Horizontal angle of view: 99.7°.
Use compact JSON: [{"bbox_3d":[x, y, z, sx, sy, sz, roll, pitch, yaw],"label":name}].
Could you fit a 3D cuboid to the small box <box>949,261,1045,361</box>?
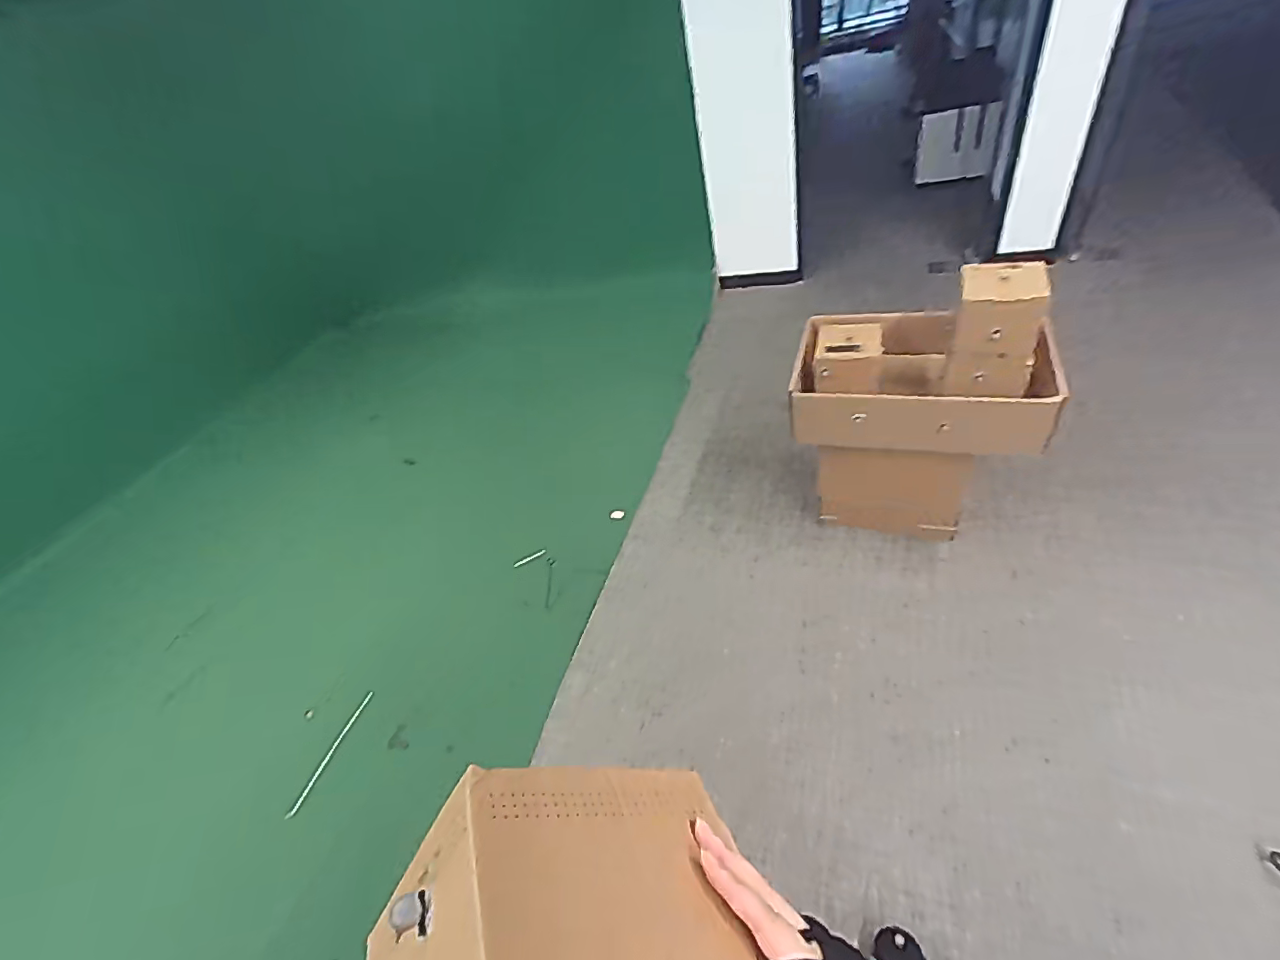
[{"bbox_3d":[0.852,-0.403,1.302,0.168,0.176,0.179,7,48,24],"label":"small box"}]
